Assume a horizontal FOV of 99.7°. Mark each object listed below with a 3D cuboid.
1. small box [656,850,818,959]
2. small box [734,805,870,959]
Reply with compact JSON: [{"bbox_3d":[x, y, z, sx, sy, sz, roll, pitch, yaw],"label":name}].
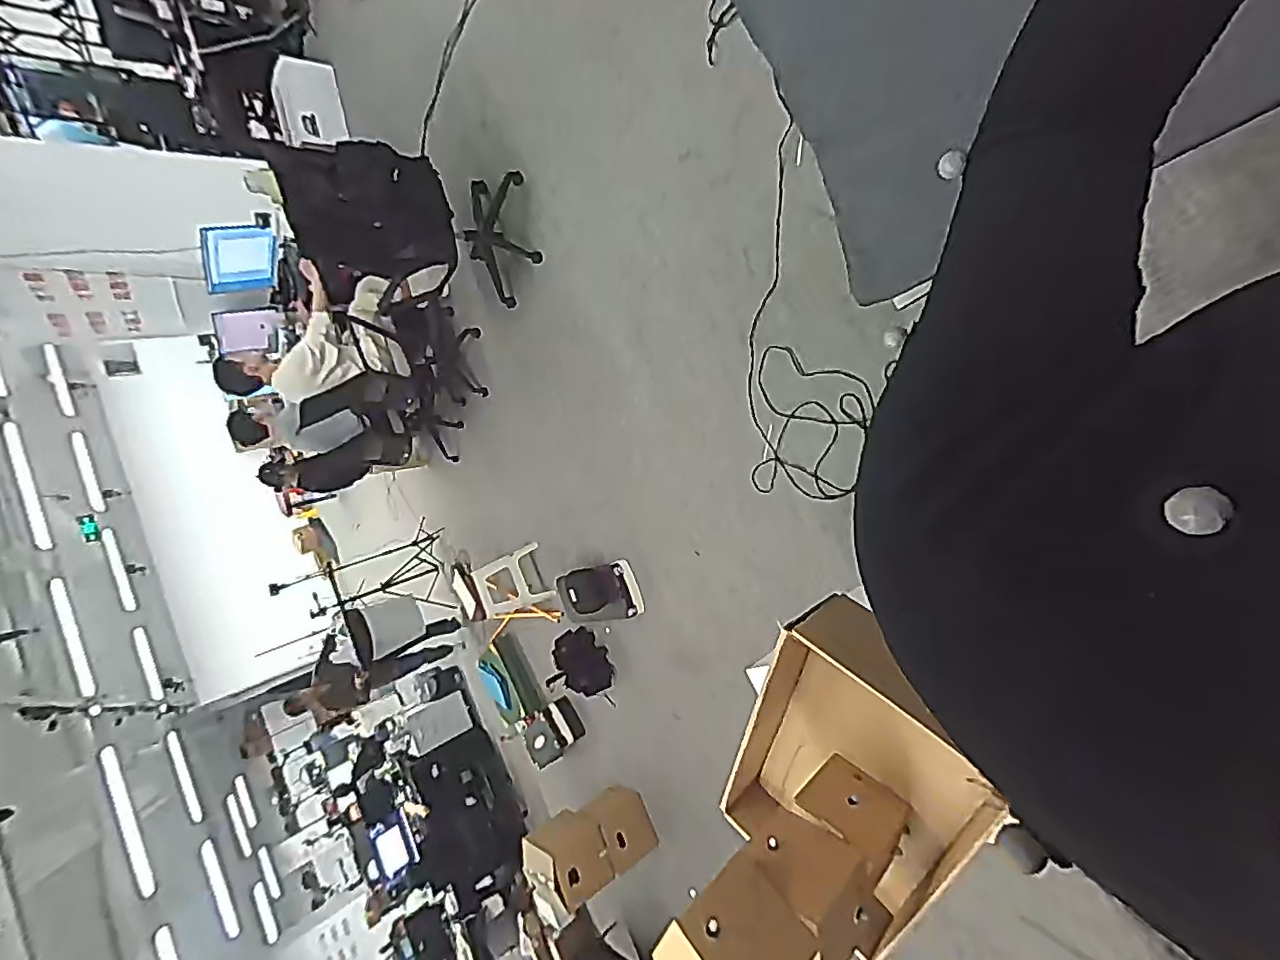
[{"bbox_3d":[0.158,0.762,0.896,0.179,0.176,0.168,39,131,33],"label":"small box"},{"bbox_3d":[0.296,0.740,0.989,0.179,0.176,0.168,3,108,47],"label":"small box"}]
